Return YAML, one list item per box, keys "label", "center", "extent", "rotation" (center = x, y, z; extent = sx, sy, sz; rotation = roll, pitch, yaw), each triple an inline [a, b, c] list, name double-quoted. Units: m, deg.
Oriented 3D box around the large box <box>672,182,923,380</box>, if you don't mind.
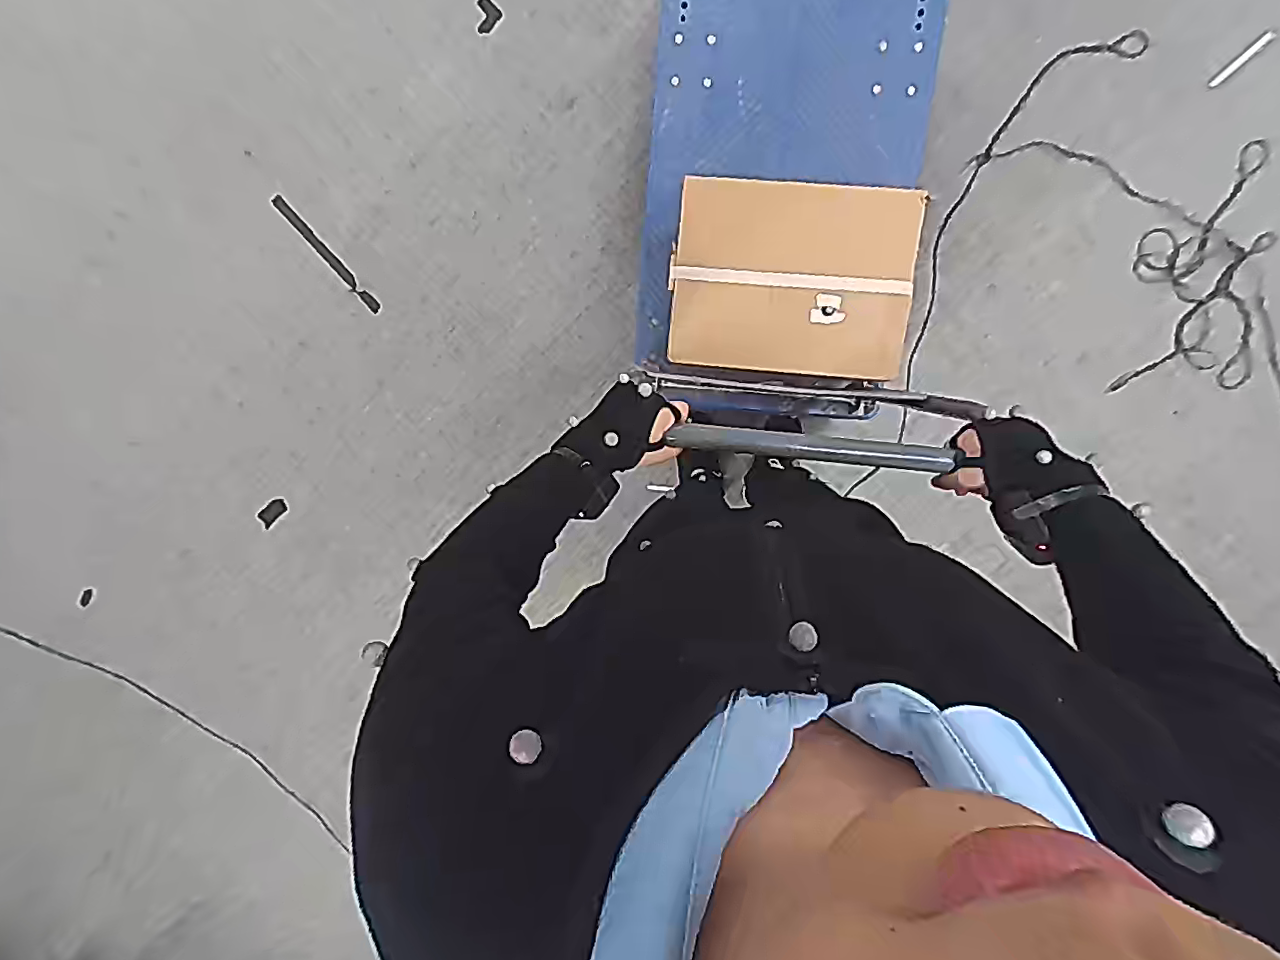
- label: "large box"
  center: [0.274, -0.369, 1.083]
  extent: [0.408, 0.320, 0.320]
  rotation: [5, 102, 3]
